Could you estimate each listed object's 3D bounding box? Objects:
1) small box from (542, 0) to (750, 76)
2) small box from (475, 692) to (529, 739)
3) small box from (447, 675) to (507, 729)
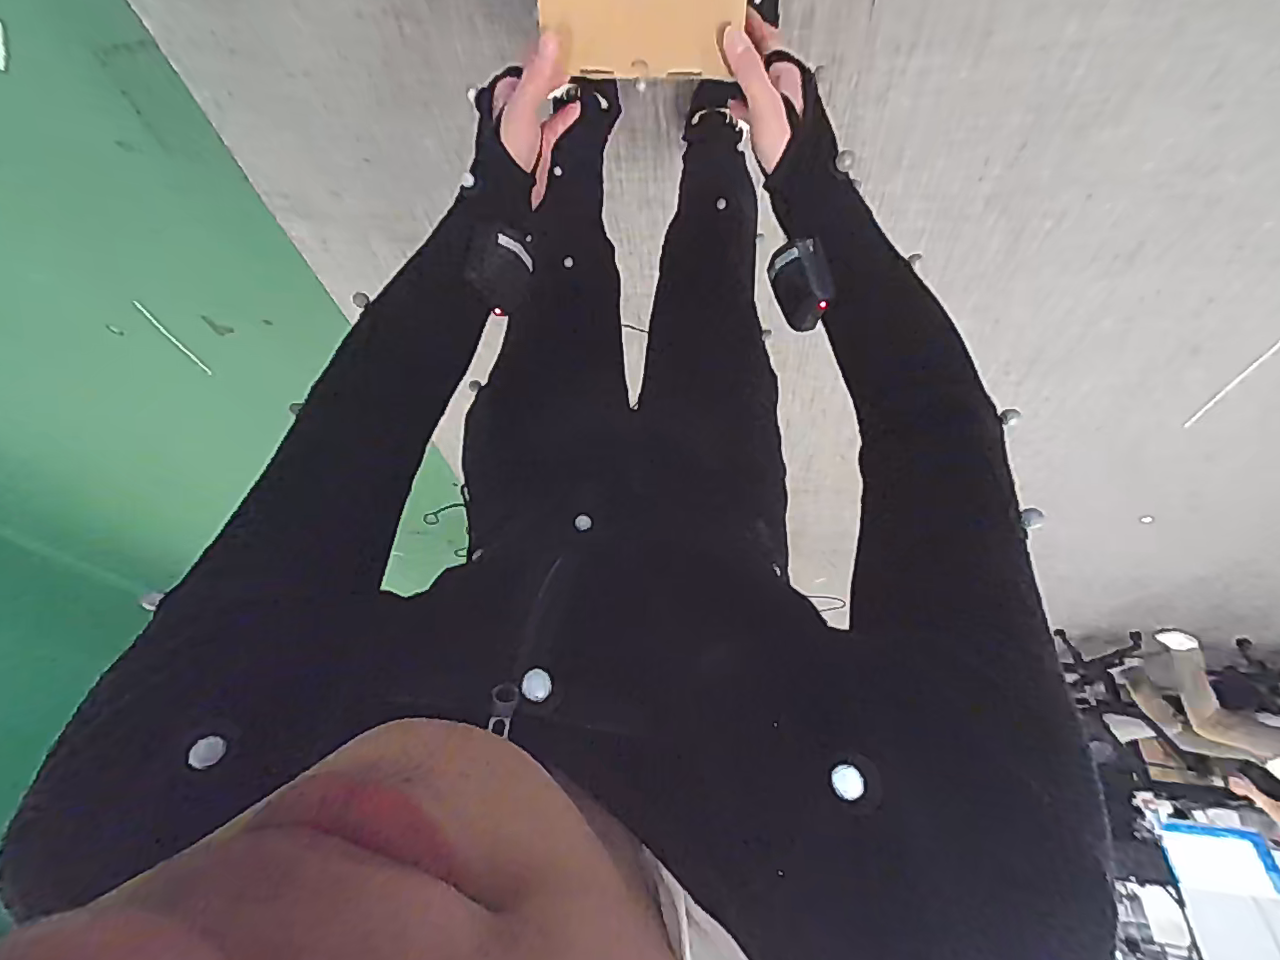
[{"bbox_3d":[0.013,-0.457,0.459,0.168,0.176,0.179,5,128,5],"label":"small box"},{"bbox_3d":[-0.608,1.044,2.407,0.168,0.176,0.179,0,147,8],"label":"small box"},{"bbox_3d":[-0.650,0.895,2.177,0.168,0.176,0.179,1,148,6],"label":"small box"}]
